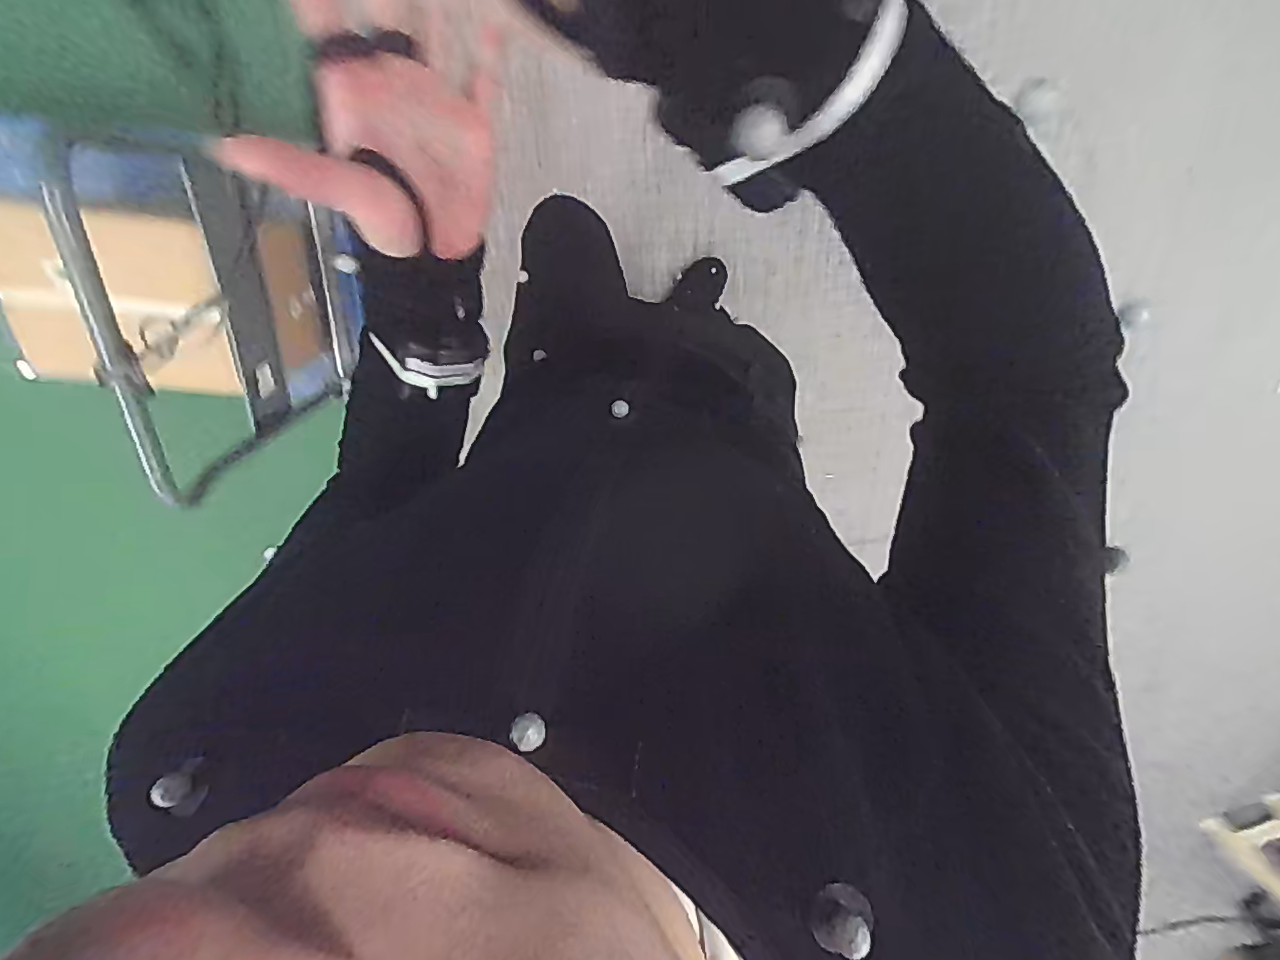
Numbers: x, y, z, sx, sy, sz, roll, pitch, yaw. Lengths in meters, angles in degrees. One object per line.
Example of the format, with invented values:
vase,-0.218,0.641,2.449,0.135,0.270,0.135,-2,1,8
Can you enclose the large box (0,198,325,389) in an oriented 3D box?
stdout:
large box,-0.964,-0.402,1.139,0.408,0.320,0.320,6,117,-3
